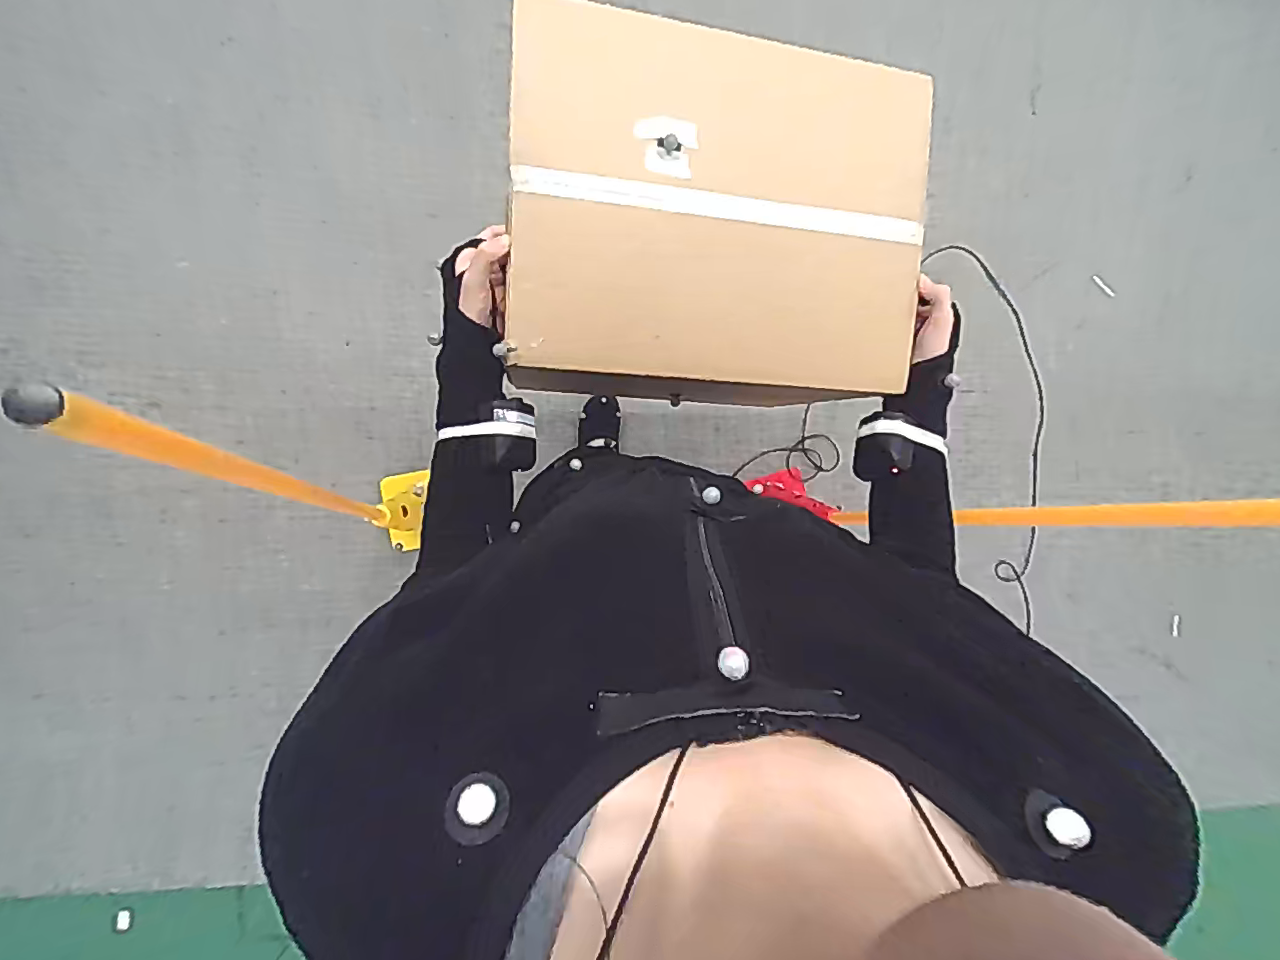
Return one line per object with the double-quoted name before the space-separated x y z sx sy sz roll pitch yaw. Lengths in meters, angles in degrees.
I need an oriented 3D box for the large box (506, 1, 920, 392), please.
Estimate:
"large box" 0.053 -0.274 0.660 0.408 0.320 0.320 2 95 -11
